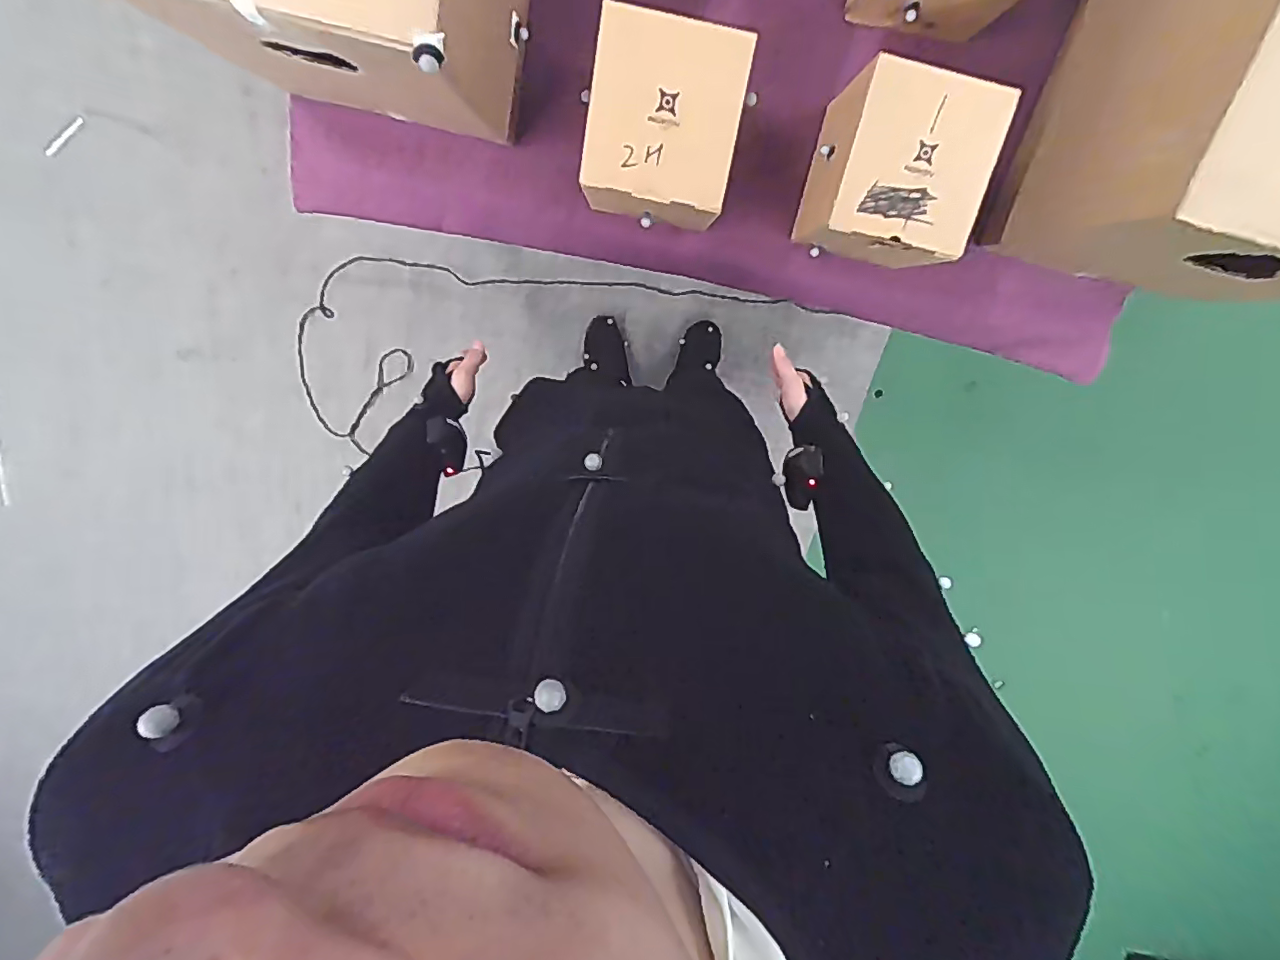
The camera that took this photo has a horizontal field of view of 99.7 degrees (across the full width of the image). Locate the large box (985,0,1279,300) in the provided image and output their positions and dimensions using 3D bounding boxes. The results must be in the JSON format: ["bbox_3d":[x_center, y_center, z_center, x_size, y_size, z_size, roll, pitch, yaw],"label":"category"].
[{"bbox_3d":[0.681,-0.436,0.590,0.320,0.320,0.408,12,109,-3],"label":"large box"}]

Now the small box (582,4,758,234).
[{"bbox_3d":[0.029,-0.419,0.661,0.168,0.176,0.179,10,108,-2],"label":"small box"}]
